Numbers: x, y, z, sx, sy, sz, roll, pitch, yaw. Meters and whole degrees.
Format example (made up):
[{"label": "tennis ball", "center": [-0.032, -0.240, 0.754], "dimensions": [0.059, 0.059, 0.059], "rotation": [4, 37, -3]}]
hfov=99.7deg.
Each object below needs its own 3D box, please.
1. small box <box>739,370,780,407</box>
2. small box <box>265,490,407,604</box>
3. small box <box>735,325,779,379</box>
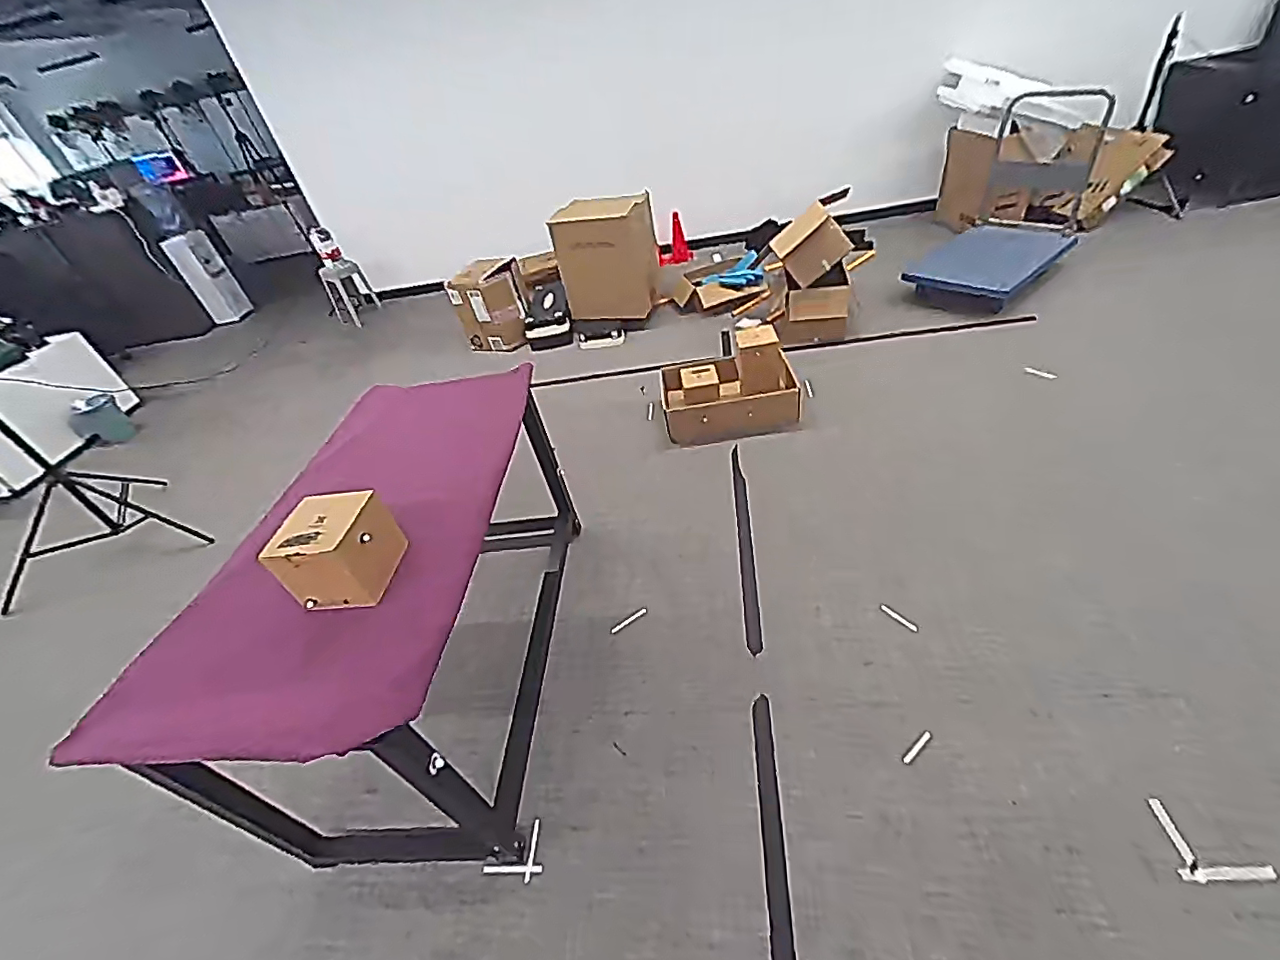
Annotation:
[{"label": "small box", "center": [0.568, -0.461, 2.574], "dimensions": [0.168, 0.176, 0.179], "rotation": [-8, 39, 6]}, {"label": "small box", "center": [-0.621, 0.147, 1.134], "dimensions": [0.168, 0.176, 0.179], "rotation": [-6, 40, 9]}, {"label": "small box", "center": [0.535, -0.581, 2.469], "dimensions": [0.179, 0.176, 0.168], "rotation": [-9, 40, 7]}]
